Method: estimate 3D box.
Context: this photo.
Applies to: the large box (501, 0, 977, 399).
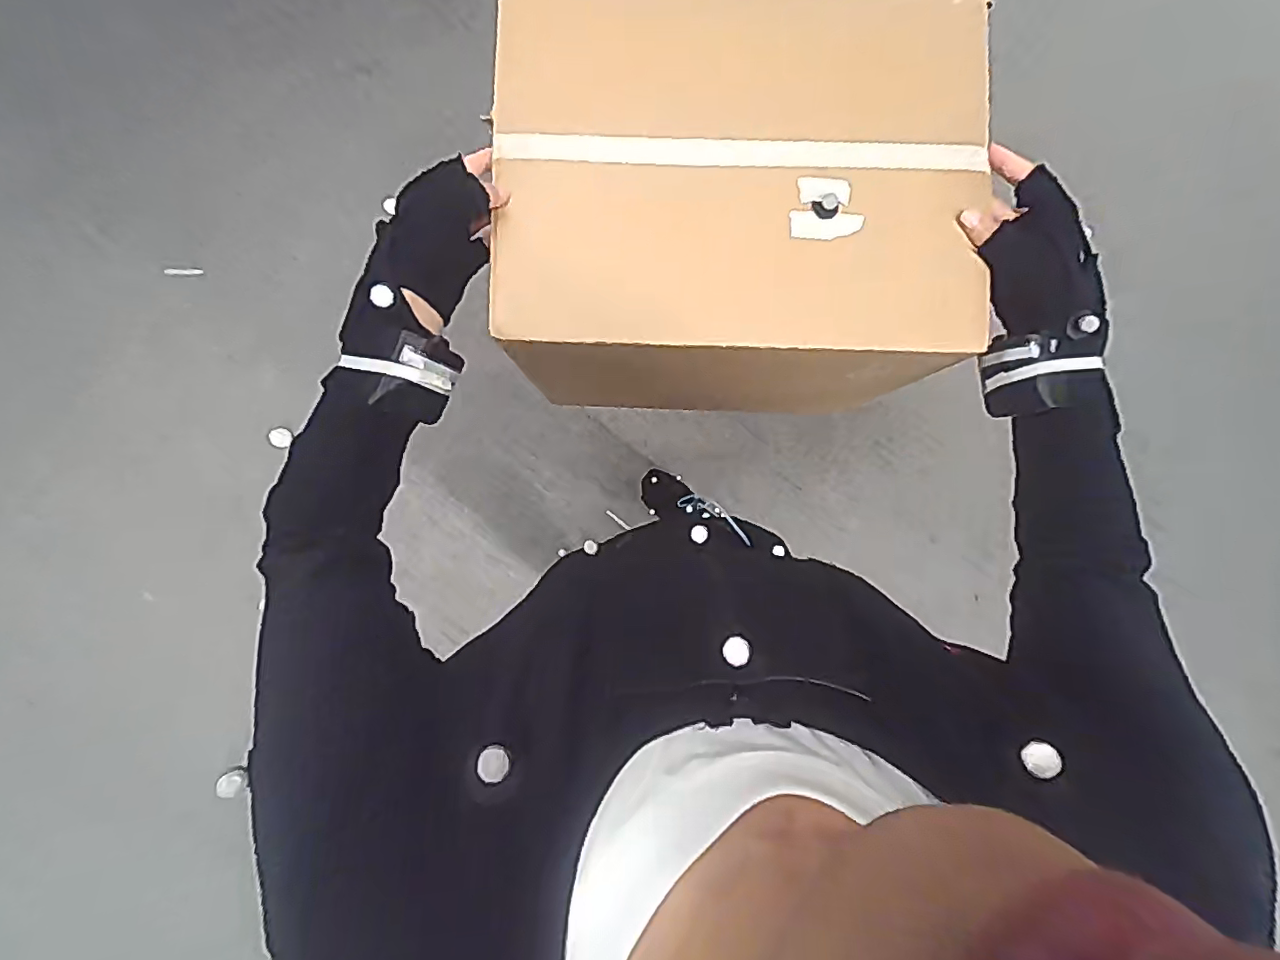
[{"bbox_3d":[0.080,-0.270,0.601,0.408,0.320,0.320,1,89,-1],"label":"large box"}]
